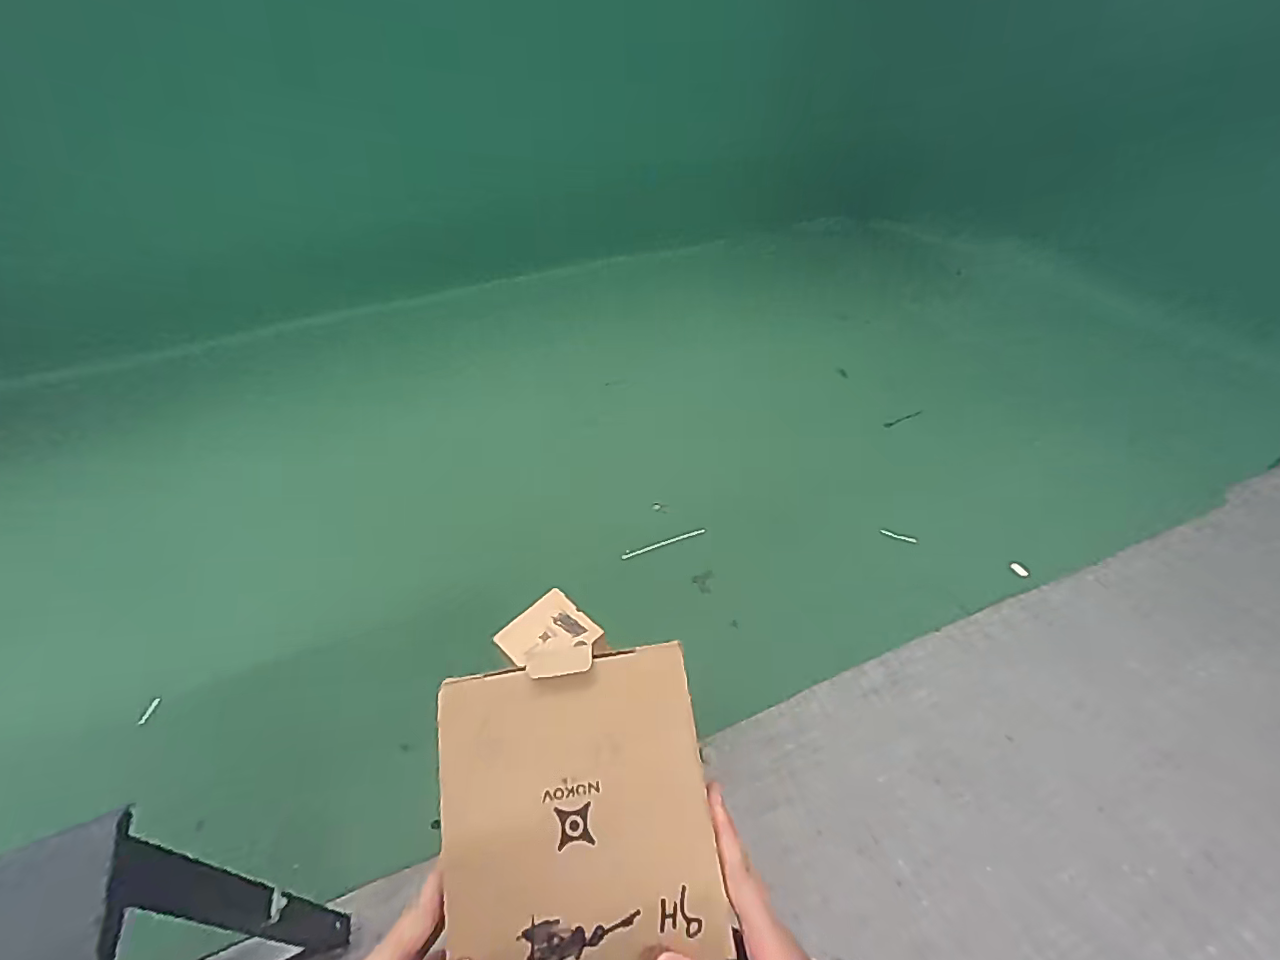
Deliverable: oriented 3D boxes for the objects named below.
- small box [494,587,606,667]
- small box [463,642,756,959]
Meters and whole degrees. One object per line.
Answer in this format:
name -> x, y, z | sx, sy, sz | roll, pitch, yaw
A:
small box -> -0.189, 0.377, 1.183 | 0.168, 0.176, 0.179 | 34, 56, 31
small box -> -0.023, 0.226, 0.403 | 0.168, 0.176, 0.179 | -8, 71, 0
